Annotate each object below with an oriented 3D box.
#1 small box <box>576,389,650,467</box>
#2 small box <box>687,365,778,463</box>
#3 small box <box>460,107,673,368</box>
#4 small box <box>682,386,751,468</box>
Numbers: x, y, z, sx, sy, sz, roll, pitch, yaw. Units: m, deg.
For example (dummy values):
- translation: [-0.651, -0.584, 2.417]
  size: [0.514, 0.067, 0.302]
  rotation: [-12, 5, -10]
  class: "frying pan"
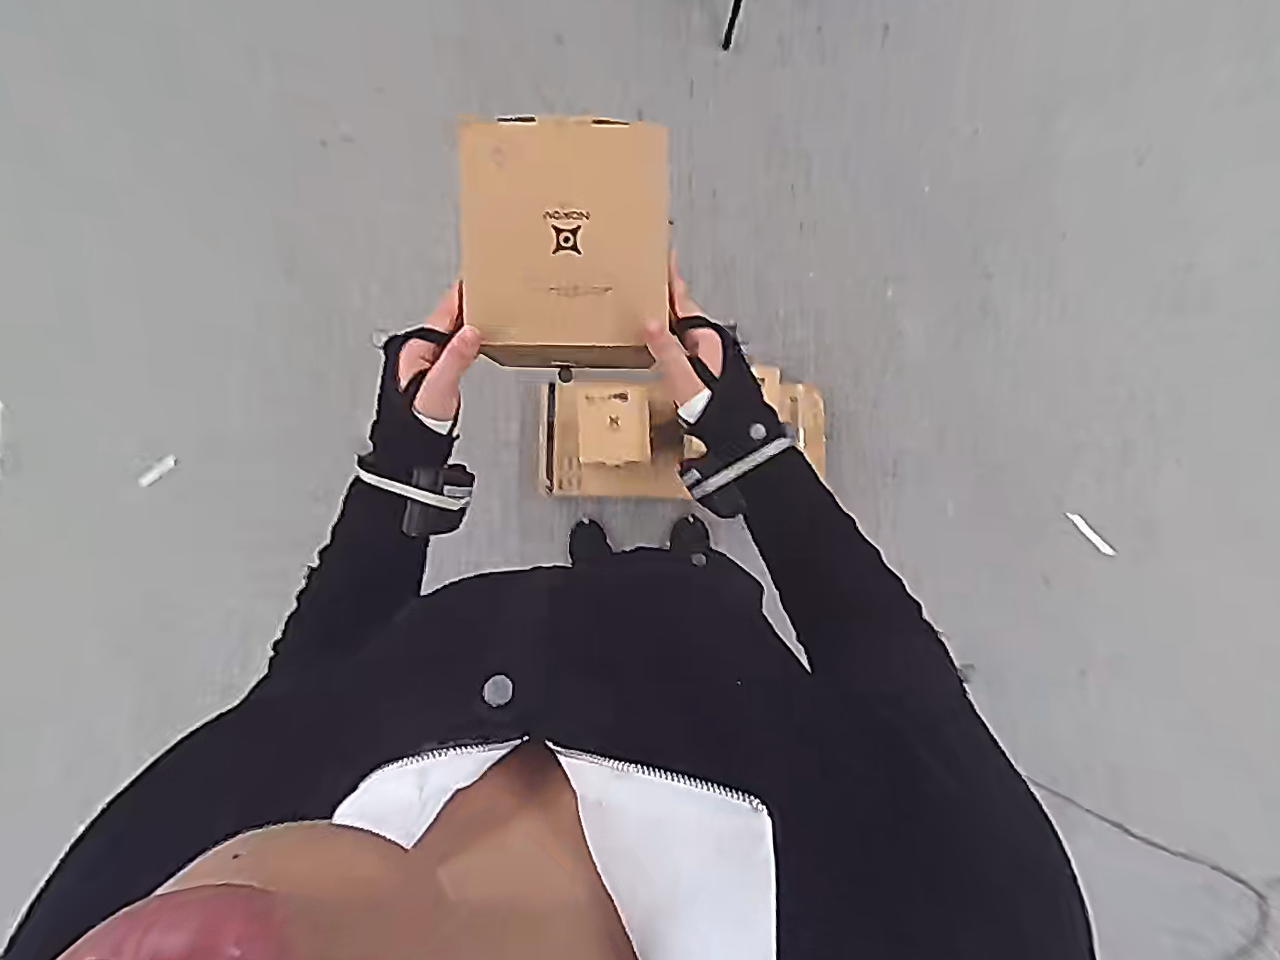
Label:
- translation: [-0.061, -0.120, 1.324]
  size: [0.168, 0.176, 0.179]
  rotation: [-2, 88, 2]
  class: "small box"
- translation: [0.190, -0.134, 1.153]
  size: [0.168, 0.176, 0.179]
  rotation: [4, 88, 3]
  class: "small box"
- translation: [-0.064, -0.203, 0.502]
  size: [0.168, 0.176, 0.179]
  rotation: [1, 97, -4]
  class: "small box"
- translation: [0.187, -0.125, 1.317]
  size: [0.168, 0.176, 0.179]
  rotation: [0, 87, 2]
  class: "small box"
